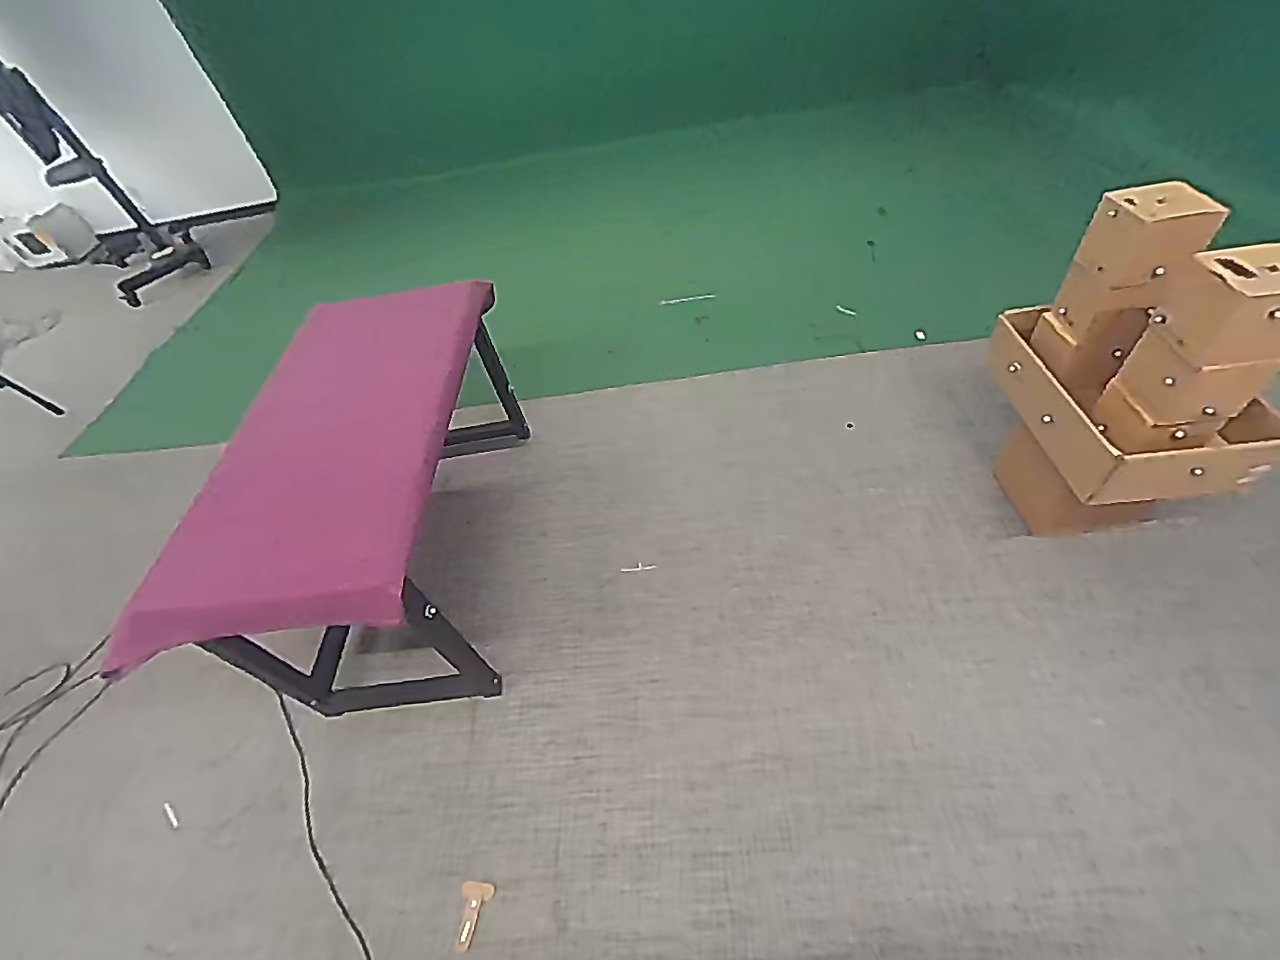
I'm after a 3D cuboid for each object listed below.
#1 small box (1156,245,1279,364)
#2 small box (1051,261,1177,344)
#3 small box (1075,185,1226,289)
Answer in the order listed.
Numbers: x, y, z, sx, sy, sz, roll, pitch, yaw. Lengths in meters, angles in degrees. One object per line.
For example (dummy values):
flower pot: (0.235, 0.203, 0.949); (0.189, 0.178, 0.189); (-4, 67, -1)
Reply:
small box: (1.231, -0.356, 1.115); (0.179, 0.176, 0.168); (-4, 50, 7)
small box: (1.254, -0.483, 1.441); (0.179, 0.176, 0.168); (-4, 48, 8)
small box: (1.228, -0.589, 1.319); (0.179, 0.176, 0.168); (-6, 48, 4)
